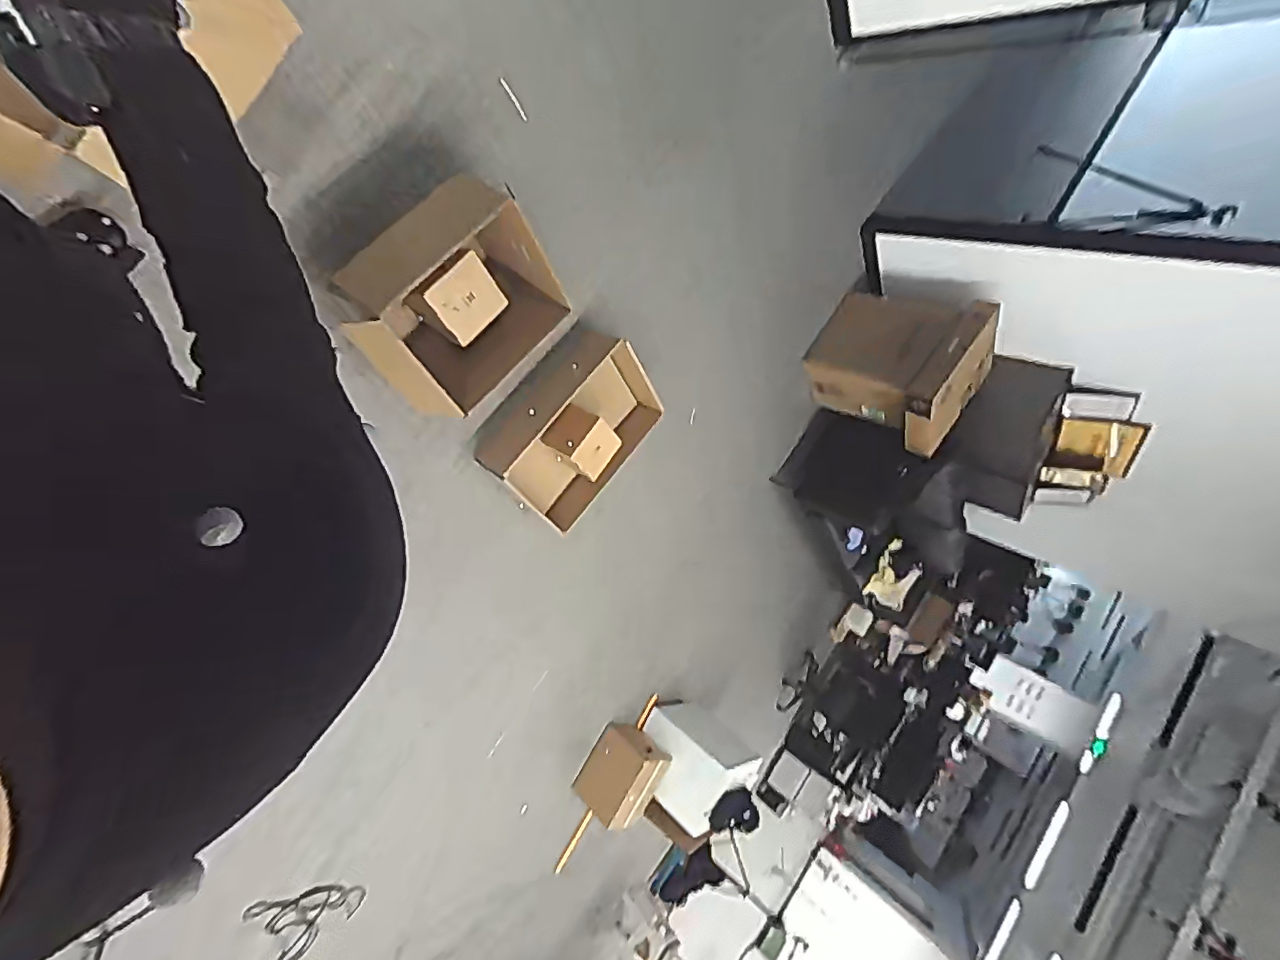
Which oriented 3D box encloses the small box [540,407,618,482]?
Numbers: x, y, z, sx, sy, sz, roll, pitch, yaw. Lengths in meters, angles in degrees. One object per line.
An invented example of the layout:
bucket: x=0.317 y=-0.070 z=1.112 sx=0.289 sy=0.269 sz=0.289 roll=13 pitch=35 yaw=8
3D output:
small box: x=-0.215 y=-0.130 z=1.887 sx=0.179 sy=0.176 sz=0.168 roll=-54 pitch=142 yaw=-10
